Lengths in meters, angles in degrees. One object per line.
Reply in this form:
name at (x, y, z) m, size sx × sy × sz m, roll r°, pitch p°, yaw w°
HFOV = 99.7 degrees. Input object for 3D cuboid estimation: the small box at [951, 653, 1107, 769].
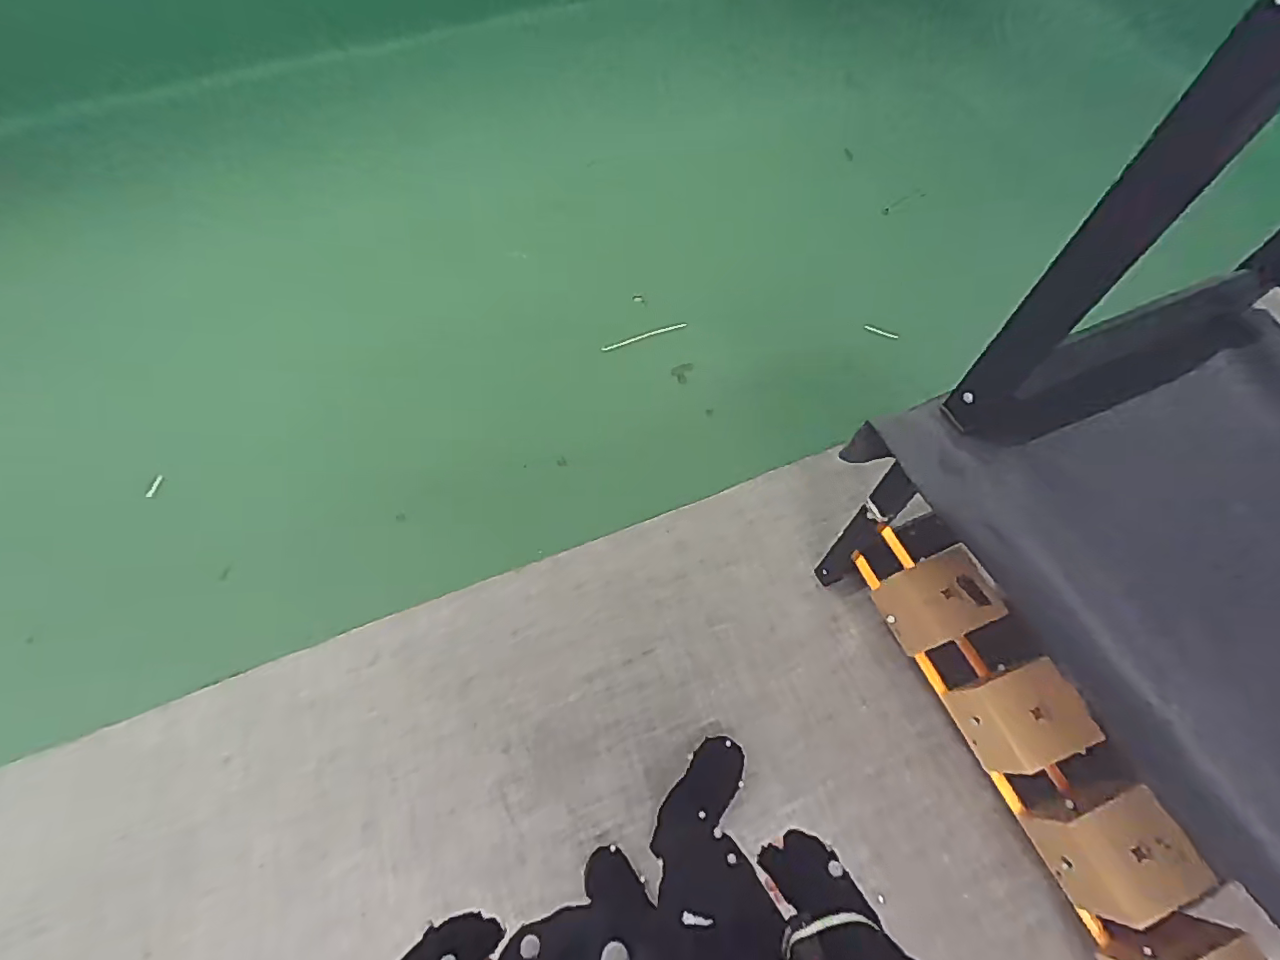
small box at (0.785, 0.483, 1.122) m, size 0.179 × 0.176 × 0.168 m, roll -20°, pitch 64°, yaw -8°

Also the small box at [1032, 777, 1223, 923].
small box at (0.884, 0.678, 1.010) m, size 0.179 × 0.176 × 0.168 m, roll -21°, pitch 63°, yaw -9°
